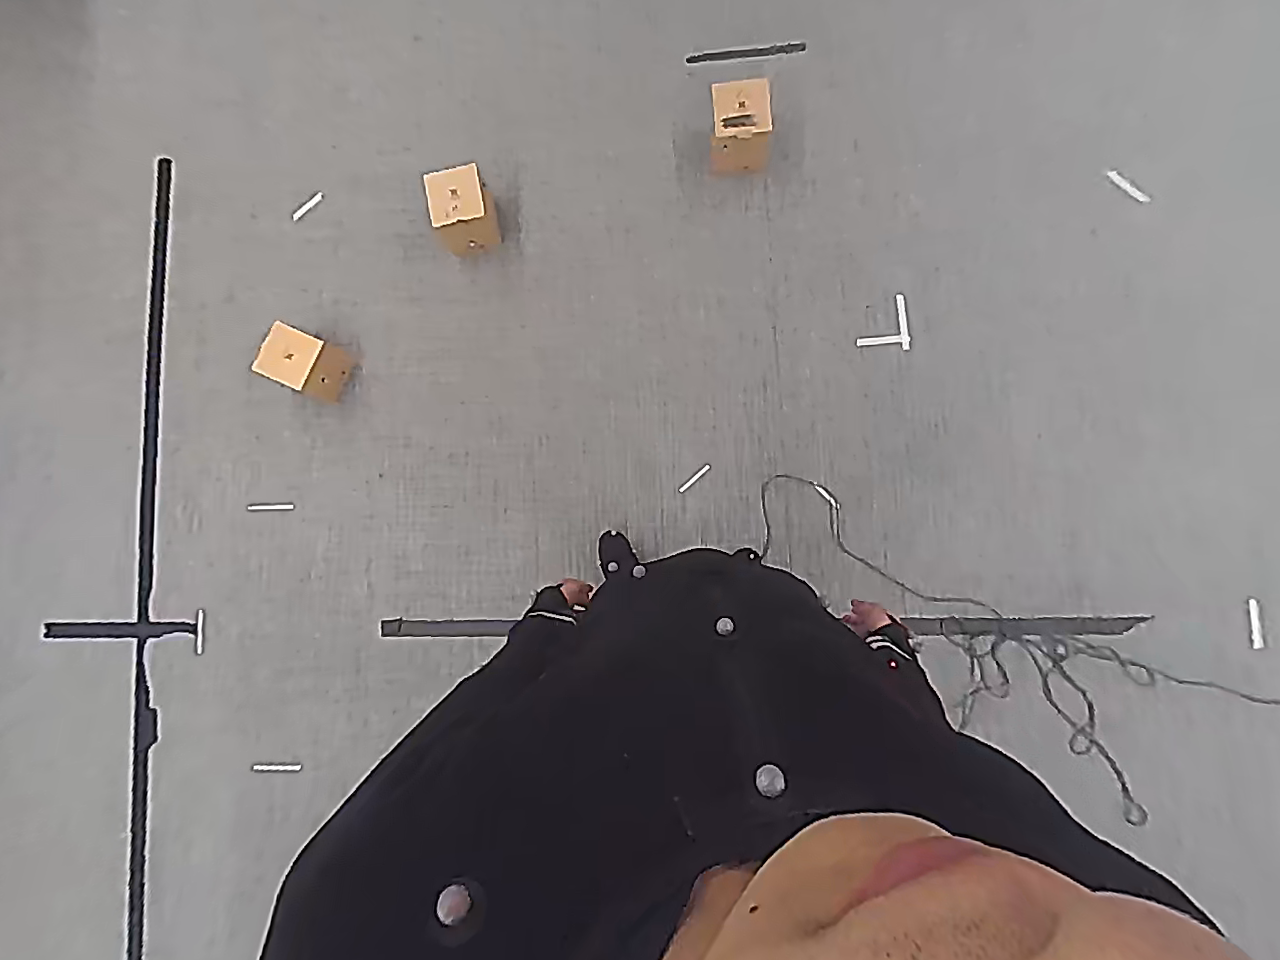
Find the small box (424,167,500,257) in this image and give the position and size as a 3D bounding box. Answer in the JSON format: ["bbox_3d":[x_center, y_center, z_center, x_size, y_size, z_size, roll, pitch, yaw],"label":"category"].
[{"bbox_3d":[-0.552,-0.833,1.694,0.168,0.176,0.179,-12,85,2],"label":"small box"}]

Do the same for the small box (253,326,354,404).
[{"bbox_3d":[-1.037,-0.349,1.682,0.179,0.176,0.168,24,87,6],"label":"small box"}]
